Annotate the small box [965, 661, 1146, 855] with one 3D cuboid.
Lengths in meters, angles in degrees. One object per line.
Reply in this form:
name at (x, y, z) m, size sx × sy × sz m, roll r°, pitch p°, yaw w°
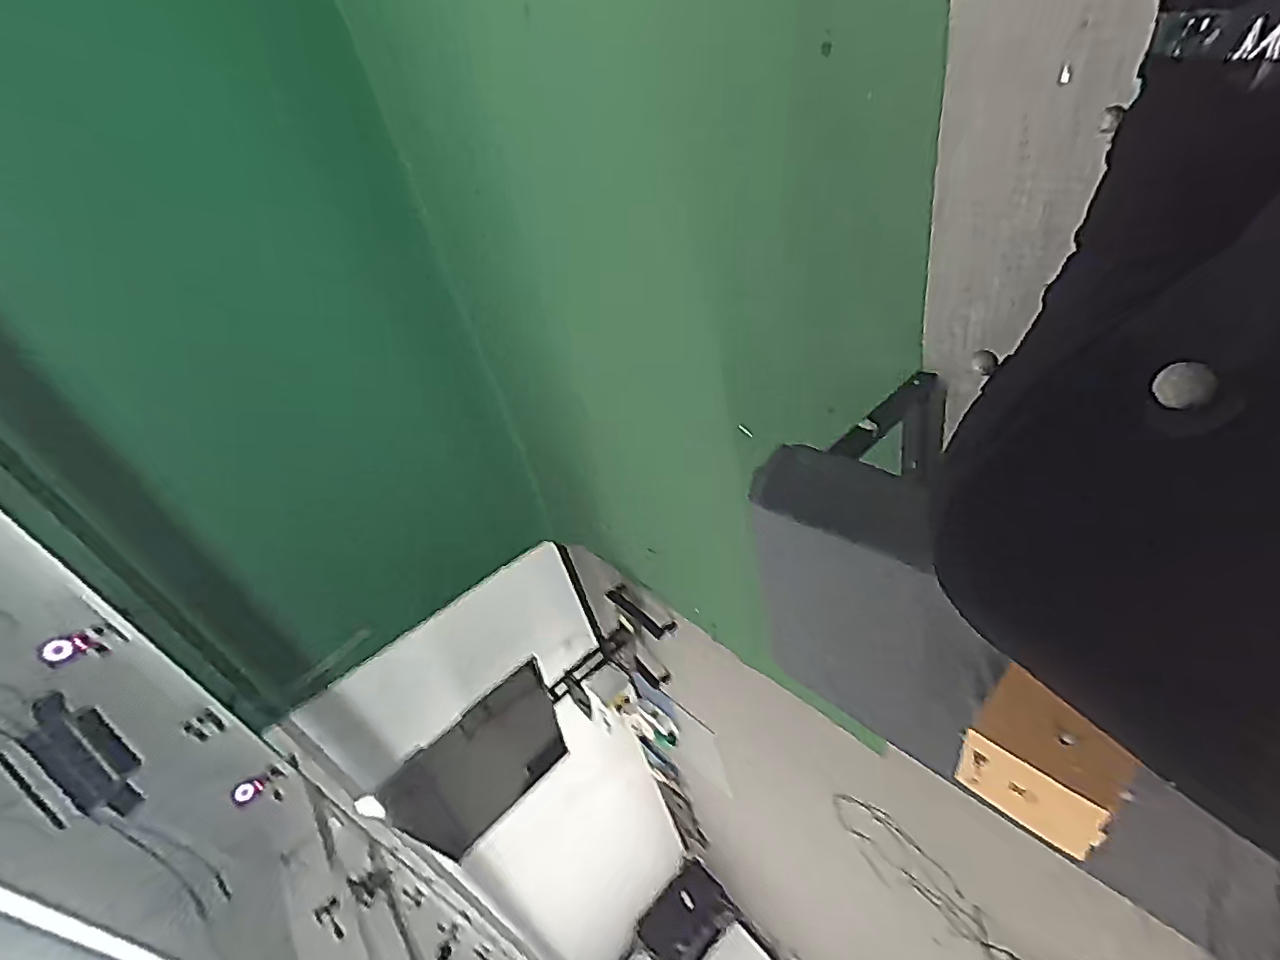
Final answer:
small box at (0.639, 0.419, 0.841) m, size 0.179 × 0.176 × 0.168 m, roll 24°, pitch 142°, yaw 47°
